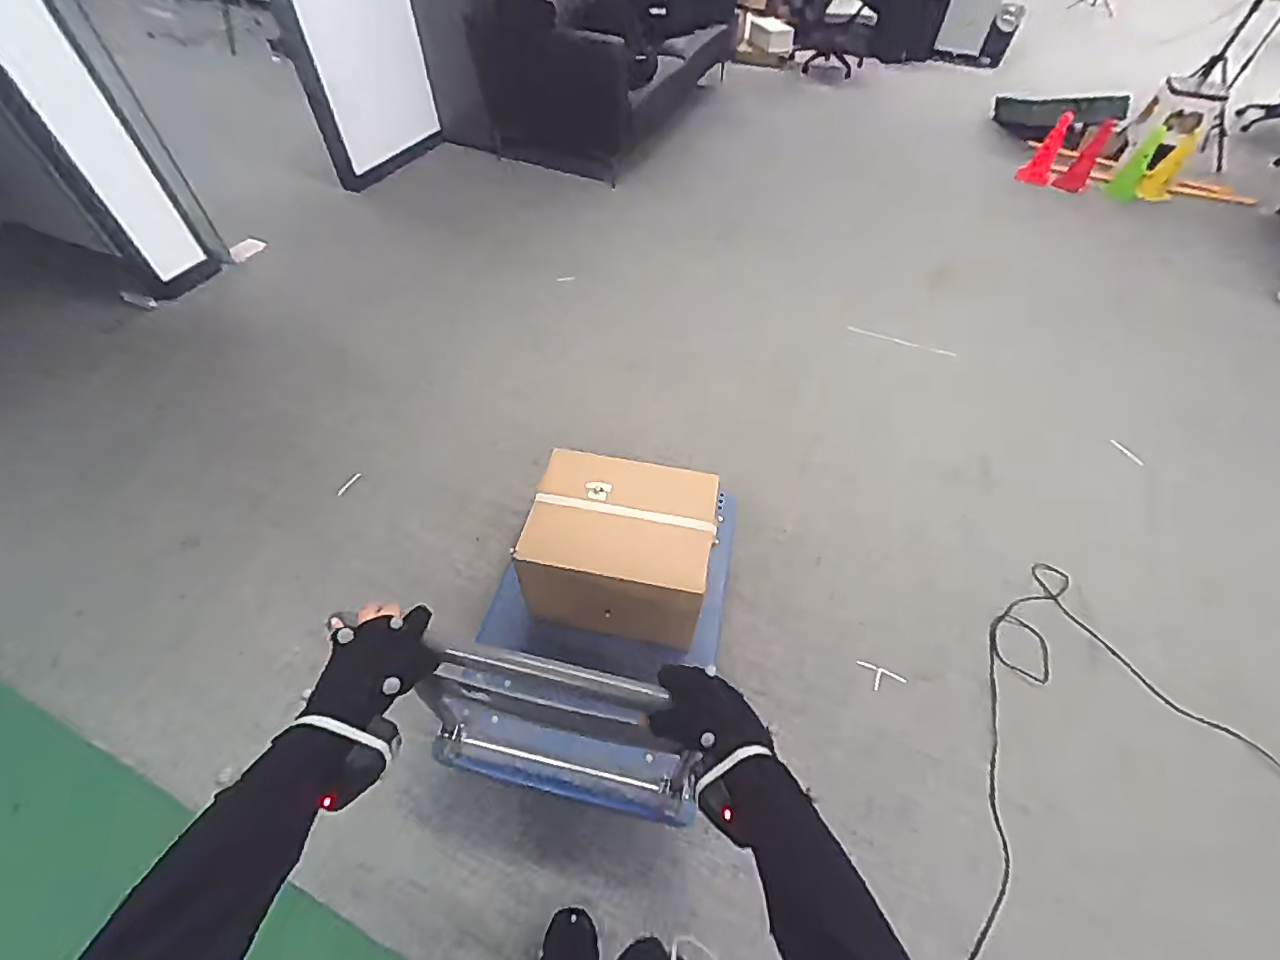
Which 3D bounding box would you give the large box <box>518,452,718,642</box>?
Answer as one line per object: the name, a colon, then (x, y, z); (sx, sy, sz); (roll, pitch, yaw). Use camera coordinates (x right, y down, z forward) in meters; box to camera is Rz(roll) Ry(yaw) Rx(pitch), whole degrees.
large box: (-0.036, 0.168, 1.317); (0.408, 0.320, 0.320); (9, 52, 6)
